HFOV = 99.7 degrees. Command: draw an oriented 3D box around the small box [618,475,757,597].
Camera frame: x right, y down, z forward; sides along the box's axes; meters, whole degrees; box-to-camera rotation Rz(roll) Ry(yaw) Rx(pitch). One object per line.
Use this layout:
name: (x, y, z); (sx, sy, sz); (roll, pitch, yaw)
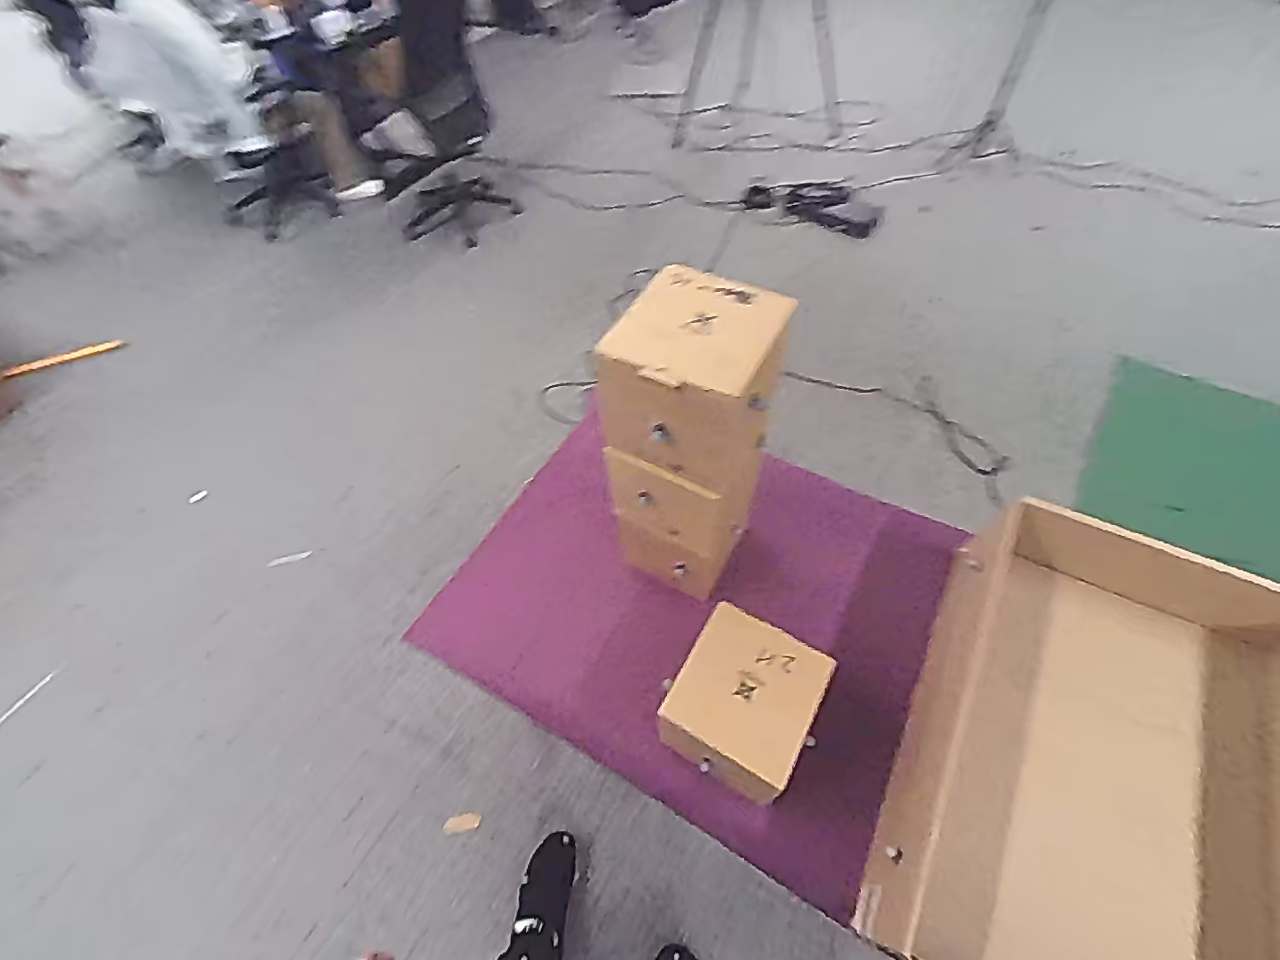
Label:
small box: (0.082, 0.070, 0.920); (0.168, 0.176, 0.179); (25, 60, 19)

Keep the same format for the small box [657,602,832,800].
small box: (0.138, 0.308, 0.743); (0.168, 0.176, 0.179); (26, 60, 19)

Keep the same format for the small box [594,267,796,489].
small box: (0.067, -0.118, 0.654); (0.168, 0.176, 0.179); (25, 60, 18)

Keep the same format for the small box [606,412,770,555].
small box: (0.071, -0.021, 0.786); (0.168, 0.176, 0.179); (25, 59, 19)
